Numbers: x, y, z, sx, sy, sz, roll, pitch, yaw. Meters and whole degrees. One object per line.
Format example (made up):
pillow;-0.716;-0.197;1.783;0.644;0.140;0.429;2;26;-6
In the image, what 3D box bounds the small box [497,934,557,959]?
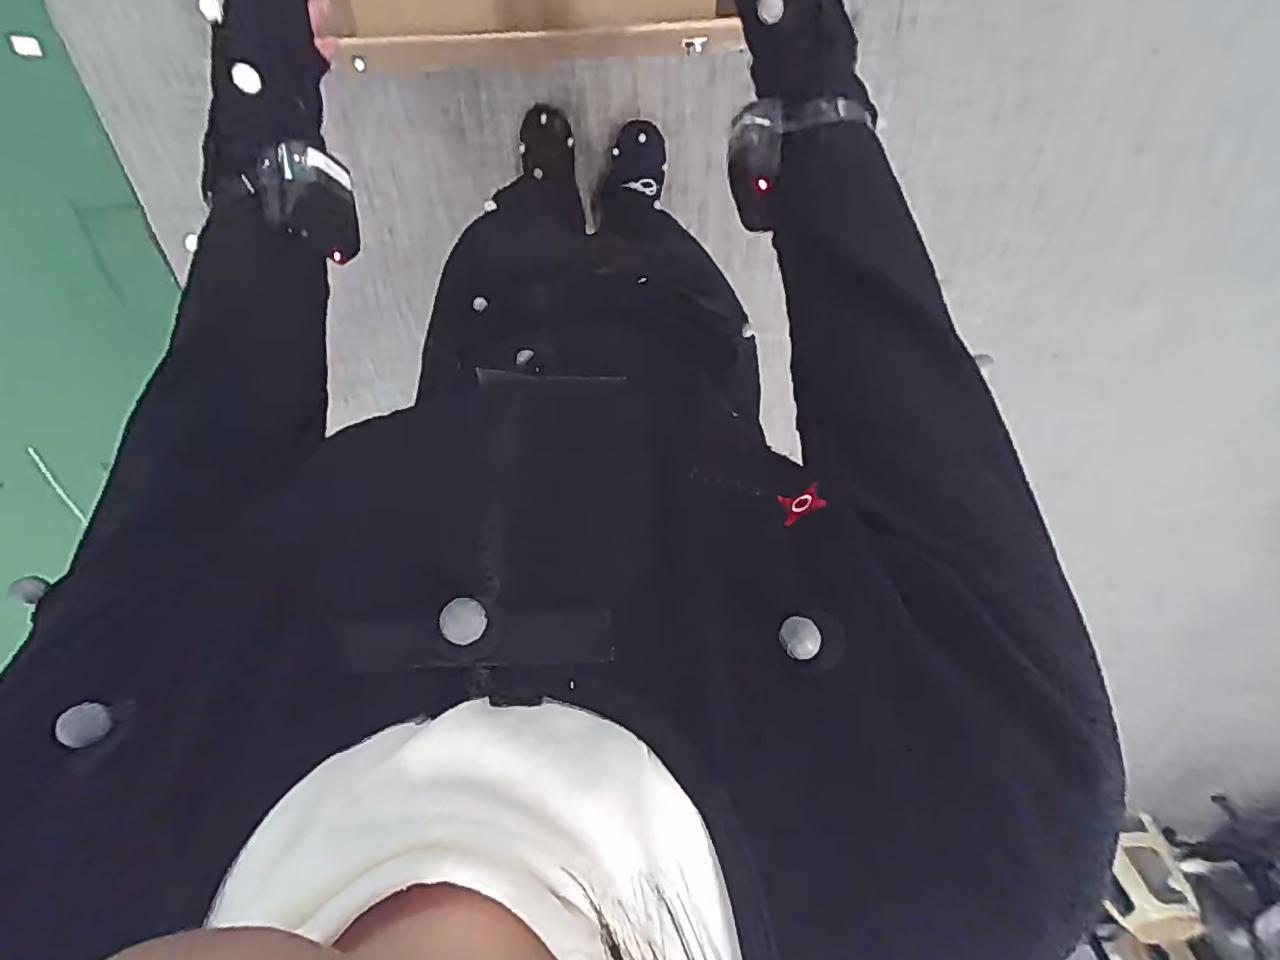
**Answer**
small box;-0.372;1.612;1.763;0.168;0.176;0.179;-4;126;2
